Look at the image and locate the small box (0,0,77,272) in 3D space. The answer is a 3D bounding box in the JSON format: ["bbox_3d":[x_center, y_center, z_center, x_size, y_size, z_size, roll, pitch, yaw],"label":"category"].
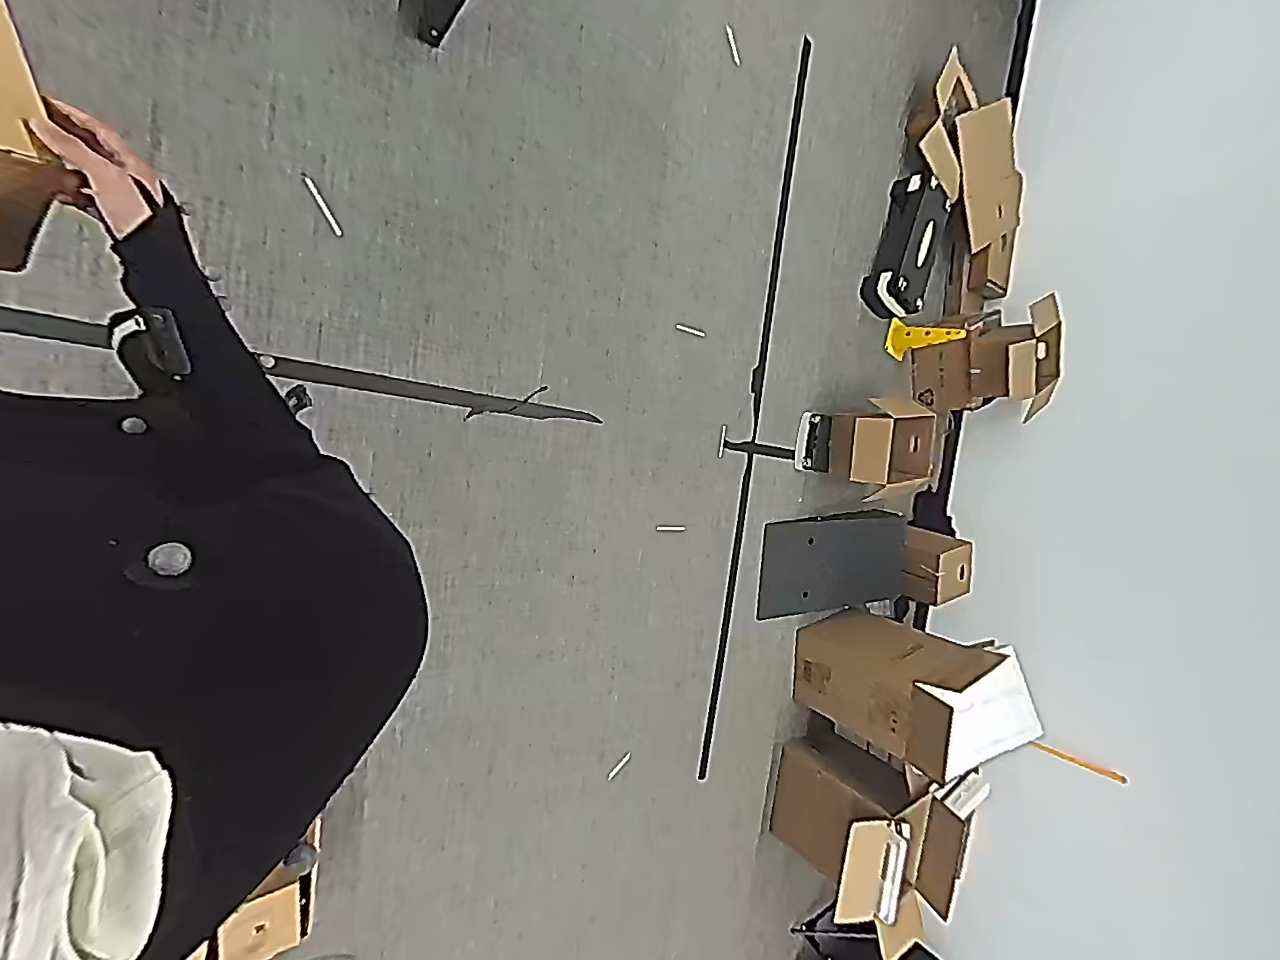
[{"bbox_3d":[-0.595,-0.292,0.414,0.168,0.176,0.179,-21,90,-60],"label":"small box"}]
